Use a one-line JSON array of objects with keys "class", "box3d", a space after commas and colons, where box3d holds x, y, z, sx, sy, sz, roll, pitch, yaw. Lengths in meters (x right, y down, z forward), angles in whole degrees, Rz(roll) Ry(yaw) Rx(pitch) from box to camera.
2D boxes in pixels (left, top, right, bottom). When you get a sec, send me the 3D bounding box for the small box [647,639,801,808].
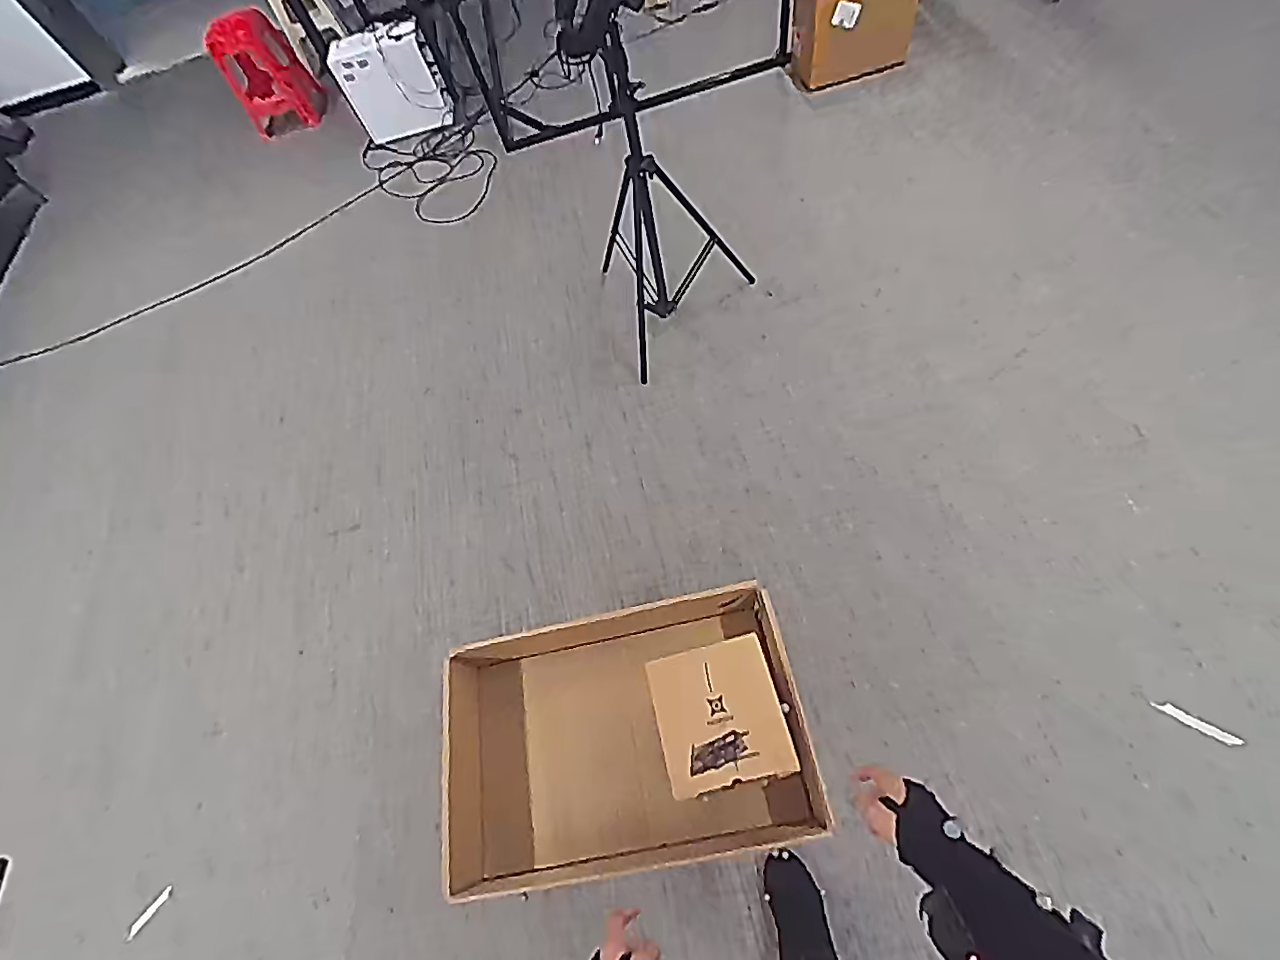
[{"class": "small box", "box3d": [0.119, 0.349, 0.780, 0.168, 0.176, 0.179, -16, 61, 2]}]
